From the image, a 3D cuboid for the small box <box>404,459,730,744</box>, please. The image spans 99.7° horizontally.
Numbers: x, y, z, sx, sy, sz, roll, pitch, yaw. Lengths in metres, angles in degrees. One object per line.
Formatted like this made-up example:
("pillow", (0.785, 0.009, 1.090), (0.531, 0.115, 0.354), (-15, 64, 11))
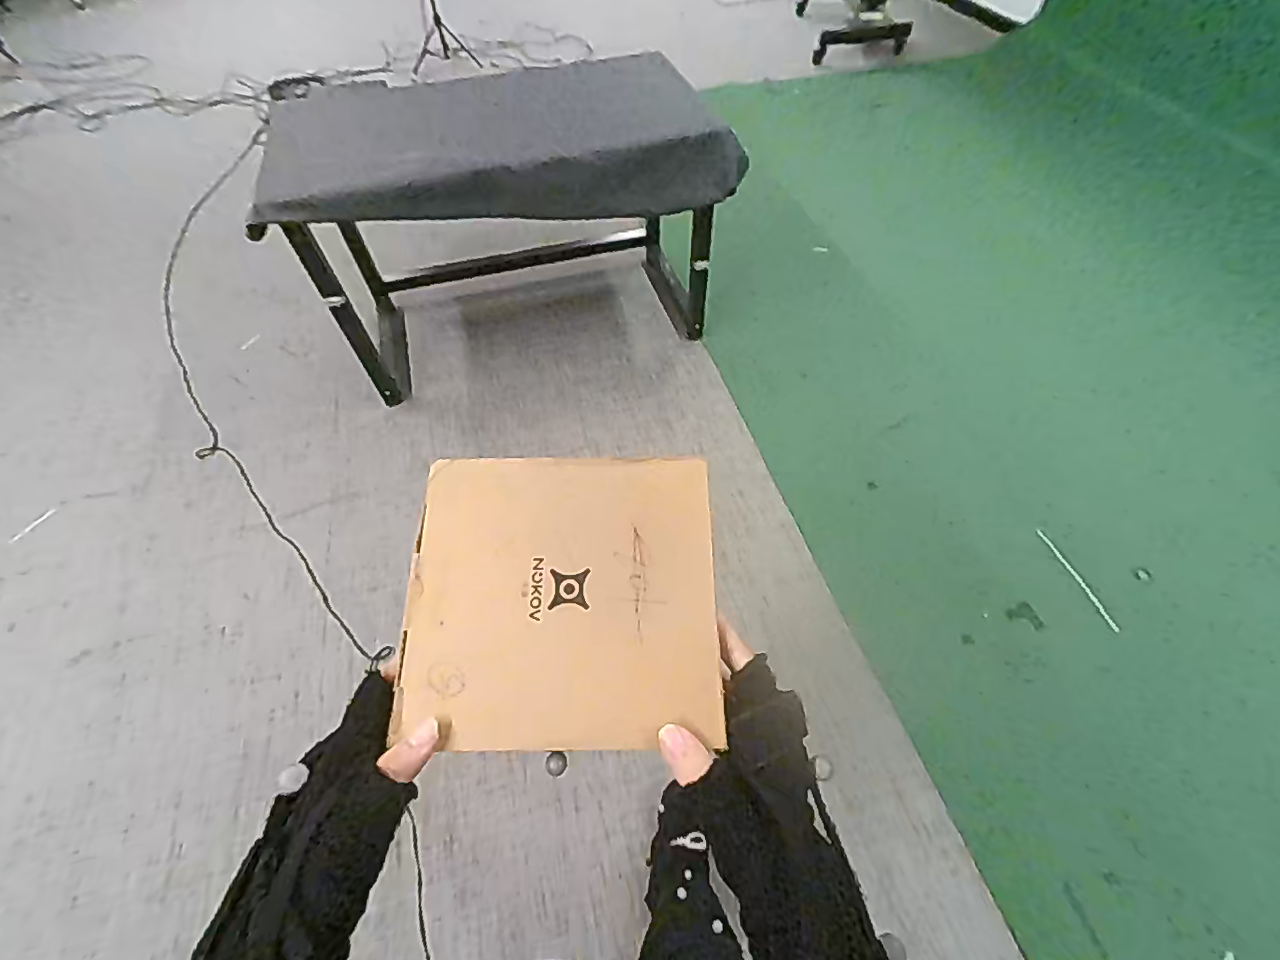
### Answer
("small box", (-0.041, 0.093, 0.388), (0.179, 0.176, 0.168), (-1, 68, -2))
